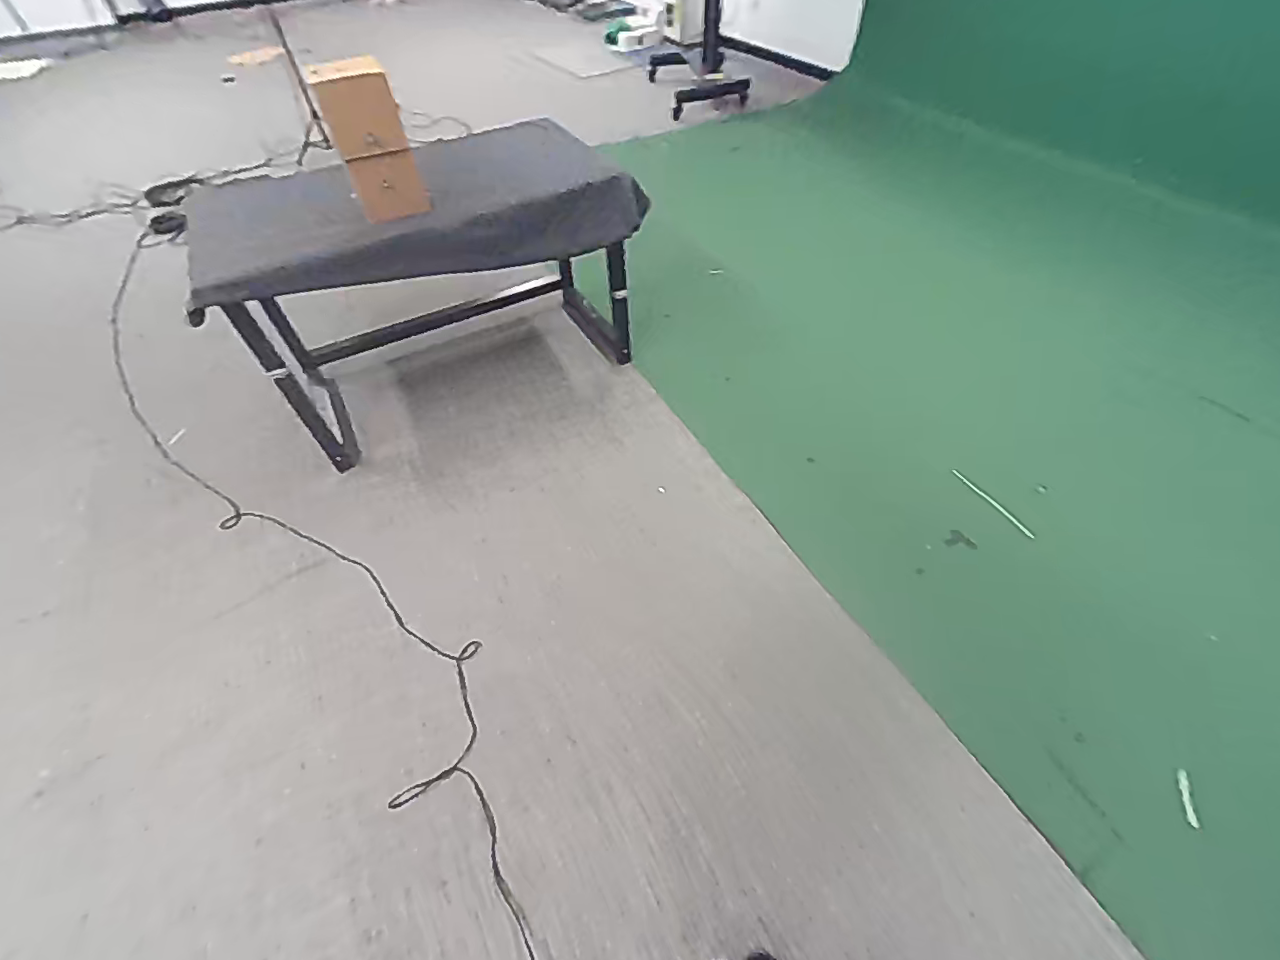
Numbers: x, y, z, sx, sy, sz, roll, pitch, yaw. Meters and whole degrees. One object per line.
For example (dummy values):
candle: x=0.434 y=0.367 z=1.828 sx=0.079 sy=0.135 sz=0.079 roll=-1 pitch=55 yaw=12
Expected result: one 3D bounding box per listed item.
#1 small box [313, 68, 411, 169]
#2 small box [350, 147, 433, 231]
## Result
small box: x=-0.706 y=-0.928 z=1.389 sx=0.179 sy=0.176 sz=0.168 roll=-22 pitch=52 yaw=-16
small box: x=-0.700 y=-0.830 z=1.519 sx=0.179 sy=0.176 sz=0.168 roll=-23 pitch=52 yaw=-15
